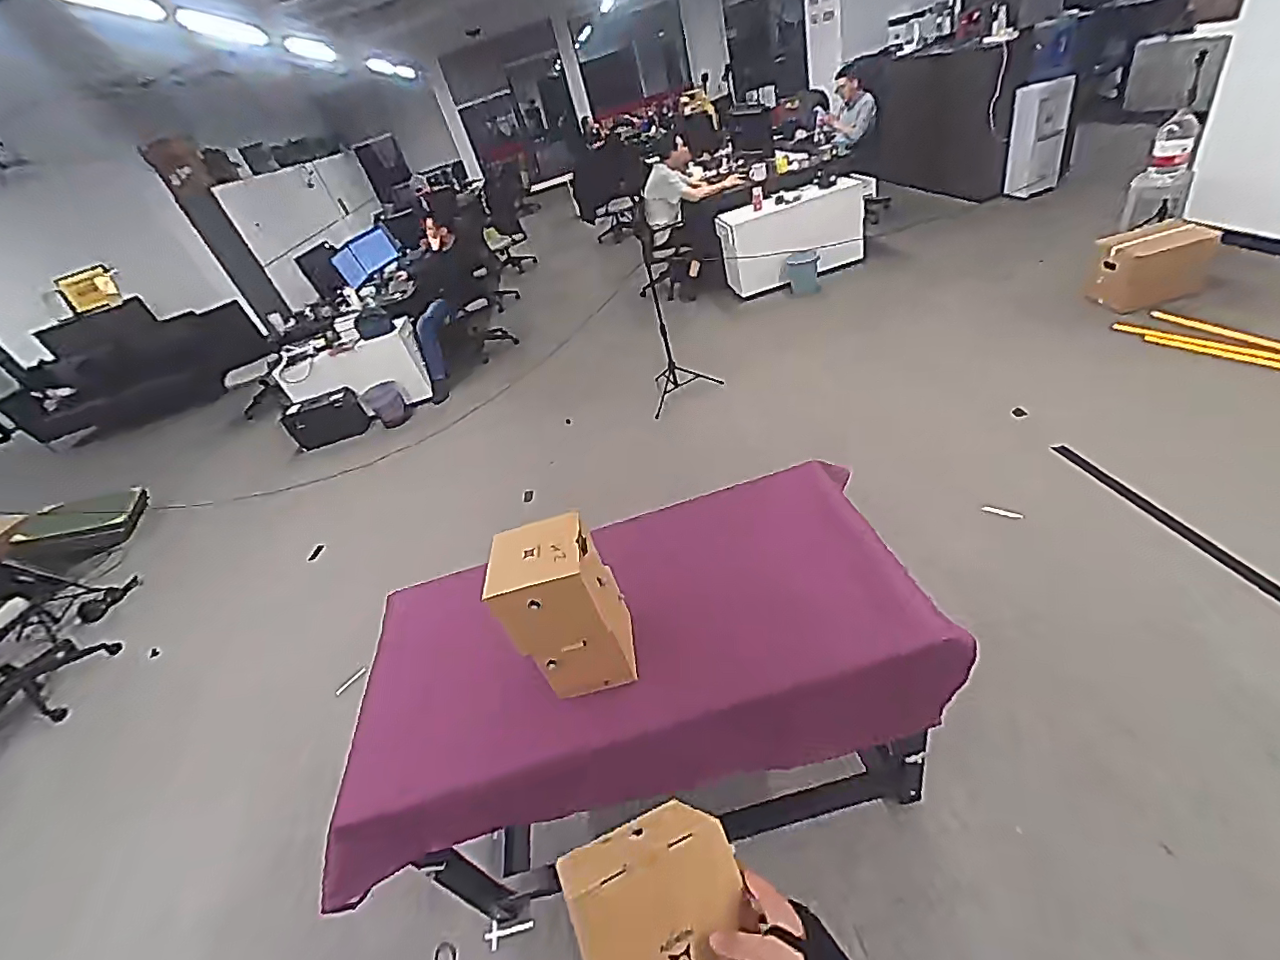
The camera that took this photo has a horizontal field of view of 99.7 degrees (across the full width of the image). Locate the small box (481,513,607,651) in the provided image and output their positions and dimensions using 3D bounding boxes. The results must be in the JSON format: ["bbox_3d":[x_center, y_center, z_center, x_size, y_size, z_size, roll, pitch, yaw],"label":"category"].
[{"bbox_3d":[-0.170,0.194,1.009,0.179,0.176,0.168,-15,36,4],"label":"small box"}]

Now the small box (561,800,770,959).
[{"bbox_3d":[0.020,0.478,0.585,0.168,0.176,0.179,-16,70,-19],"label":"small box"}]
